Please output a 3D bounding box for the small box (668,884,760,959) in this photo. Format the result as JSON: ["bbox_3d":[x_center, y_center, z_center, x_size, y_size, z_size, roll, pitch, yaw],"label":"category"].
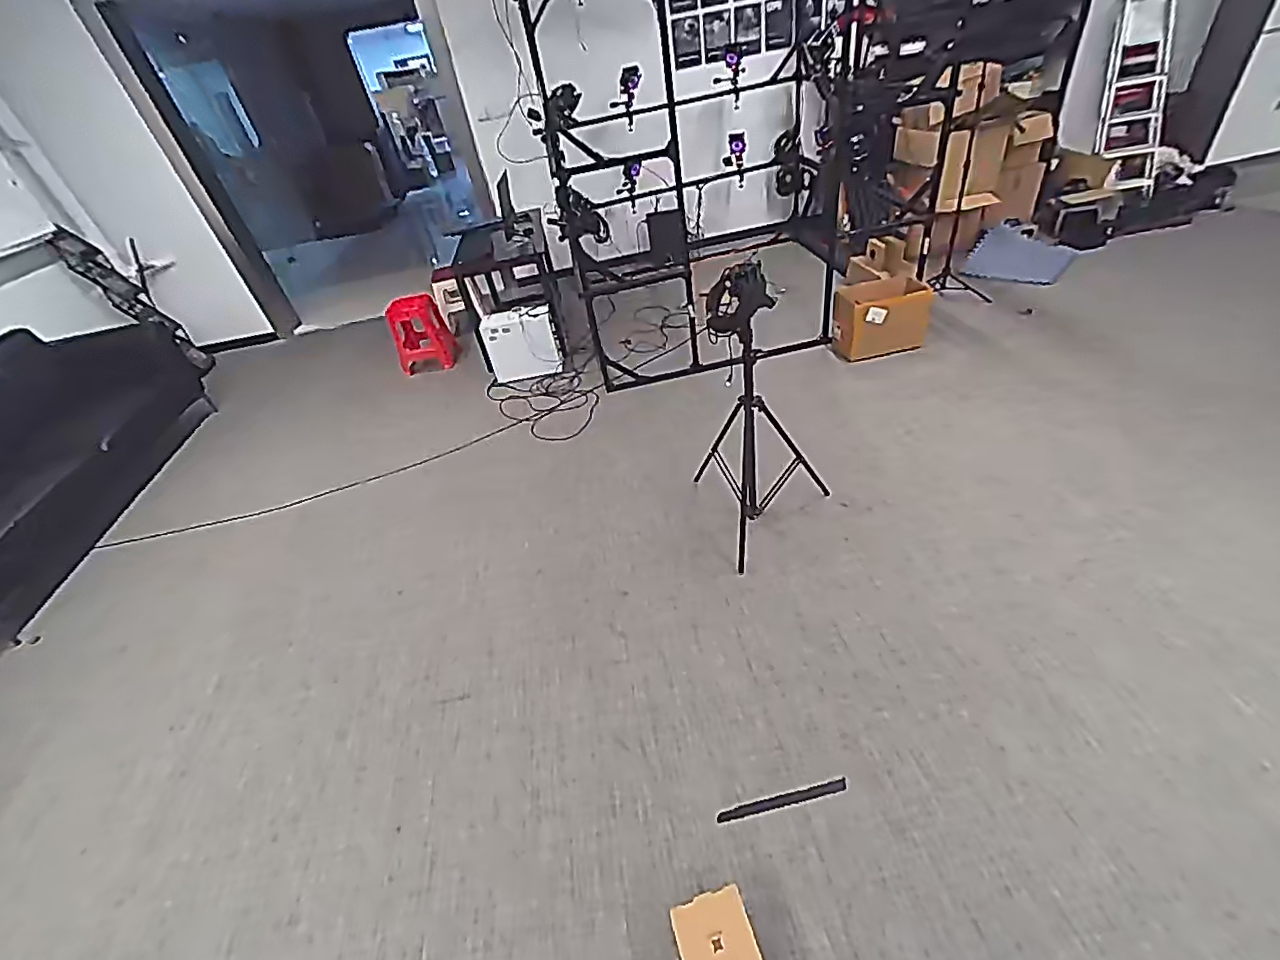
[{"bbox_3d":[0.172,1.059,1.215,0.168,0.176,0.179,-17,39,-6],"label":"small box"}]
